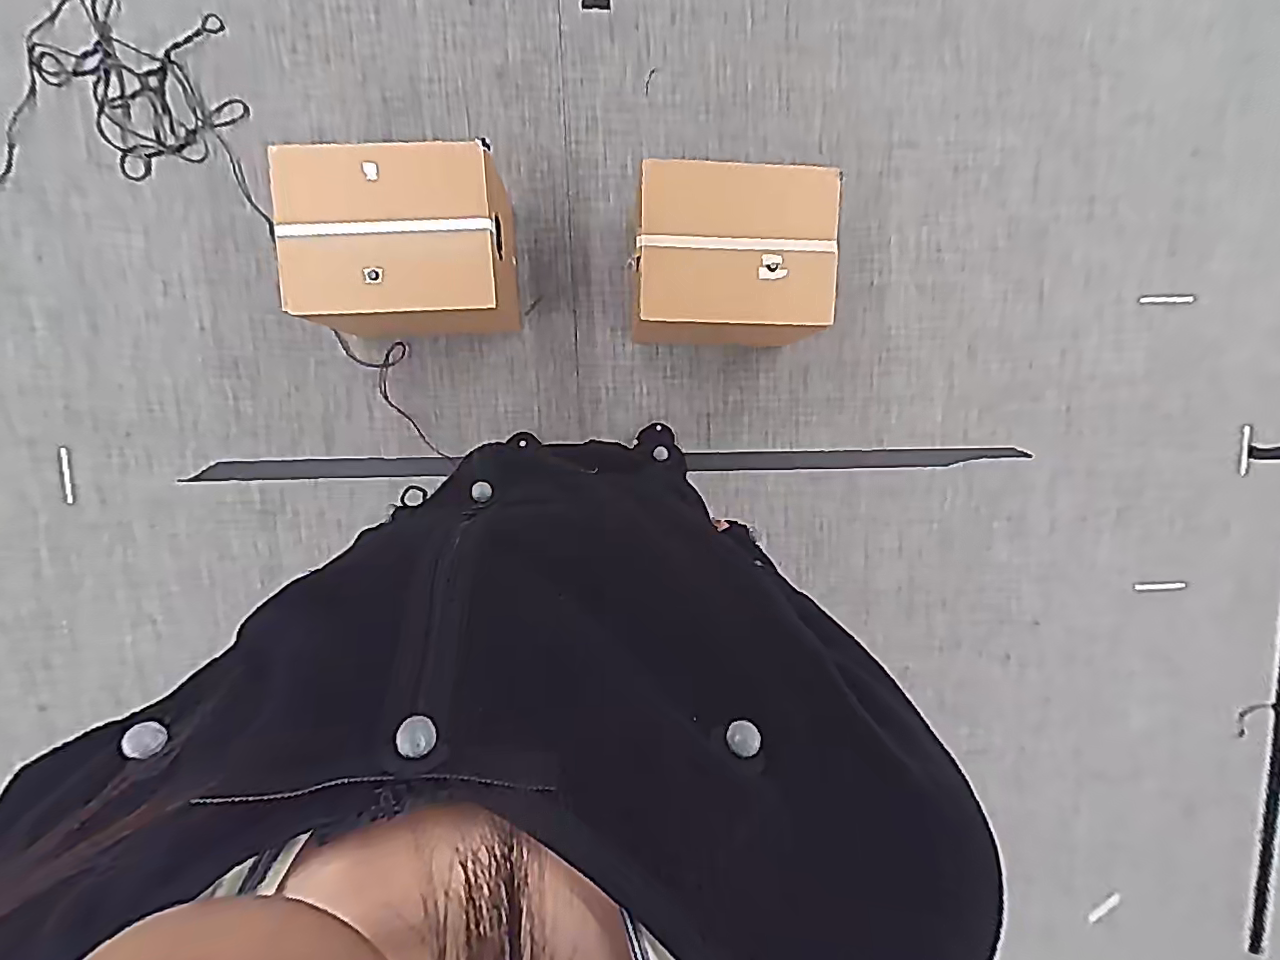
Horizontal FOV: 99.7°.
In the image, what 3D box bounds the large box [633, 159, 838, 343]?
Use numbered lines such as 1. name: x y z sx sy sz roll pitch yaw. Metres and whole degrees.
1. large box: 0.192 -0.496 1.245 0.408 0.320 0.320 1 96 -5
